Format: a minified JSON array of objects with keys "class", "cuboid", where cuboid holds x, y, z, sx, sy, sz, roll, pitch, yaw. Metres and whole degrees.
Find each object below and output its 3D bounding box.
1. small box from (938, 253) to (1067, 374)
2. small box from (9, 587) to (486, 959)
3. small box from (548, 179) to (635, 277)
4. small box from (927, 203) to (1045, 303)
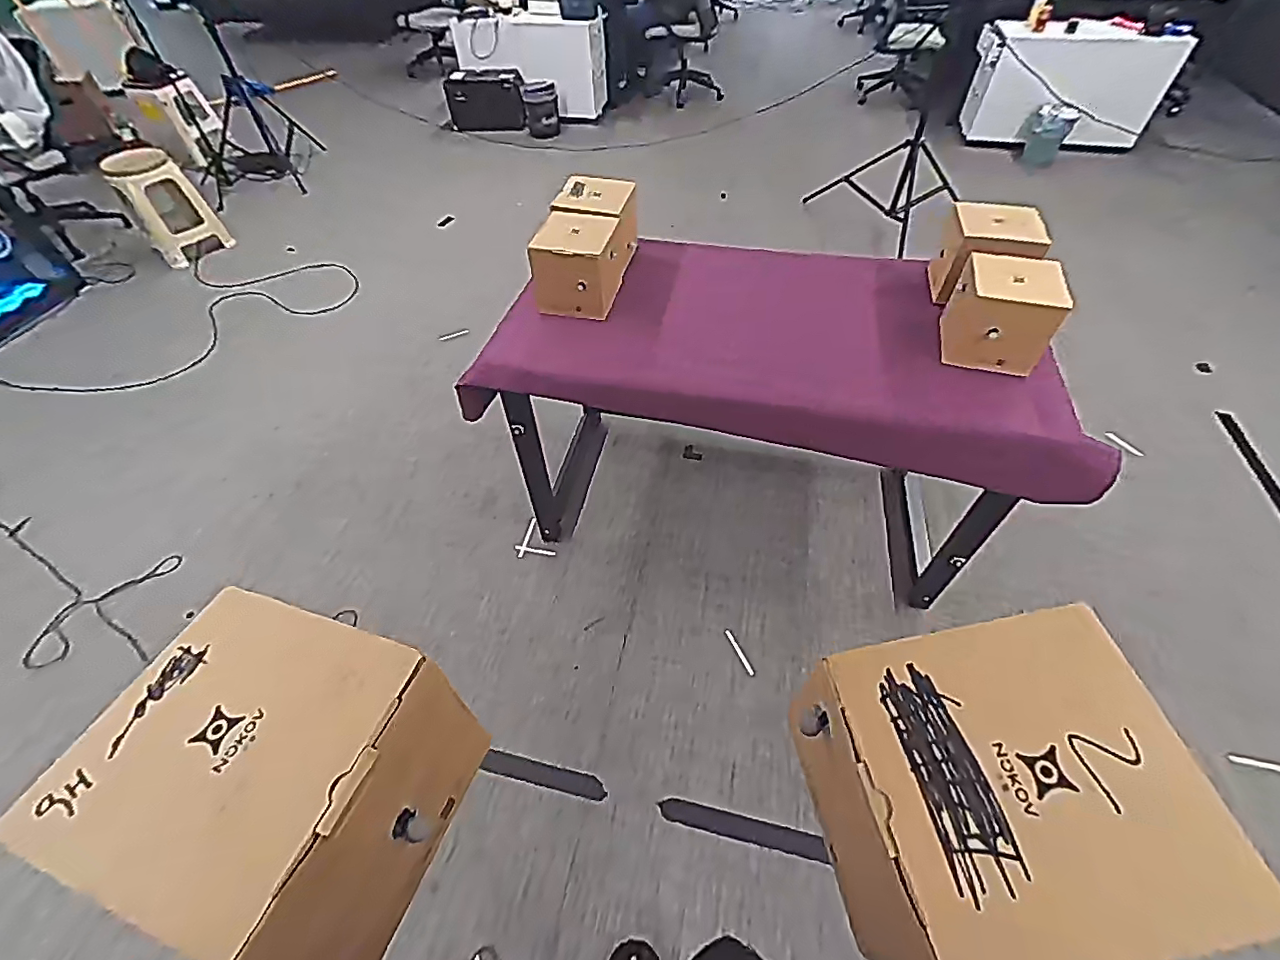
[{"class":"small box","cuboid":[0.740,-0.344,1.126,0.168,0.176,0.179,12,51,12]},{"class":"small box","cuboid":[-0.234,0.208,0.382,0.179,0.176,0.168,13,49,14]},{"class":"small box","cuboid":[-0.116,-0.645,1.386,0.179,0.176,0.168,11,54,9]},{"class":"small box","cuboid":[0.788,-0.518,1.257,0.179,0.176,0.168,10,53,9]}]
